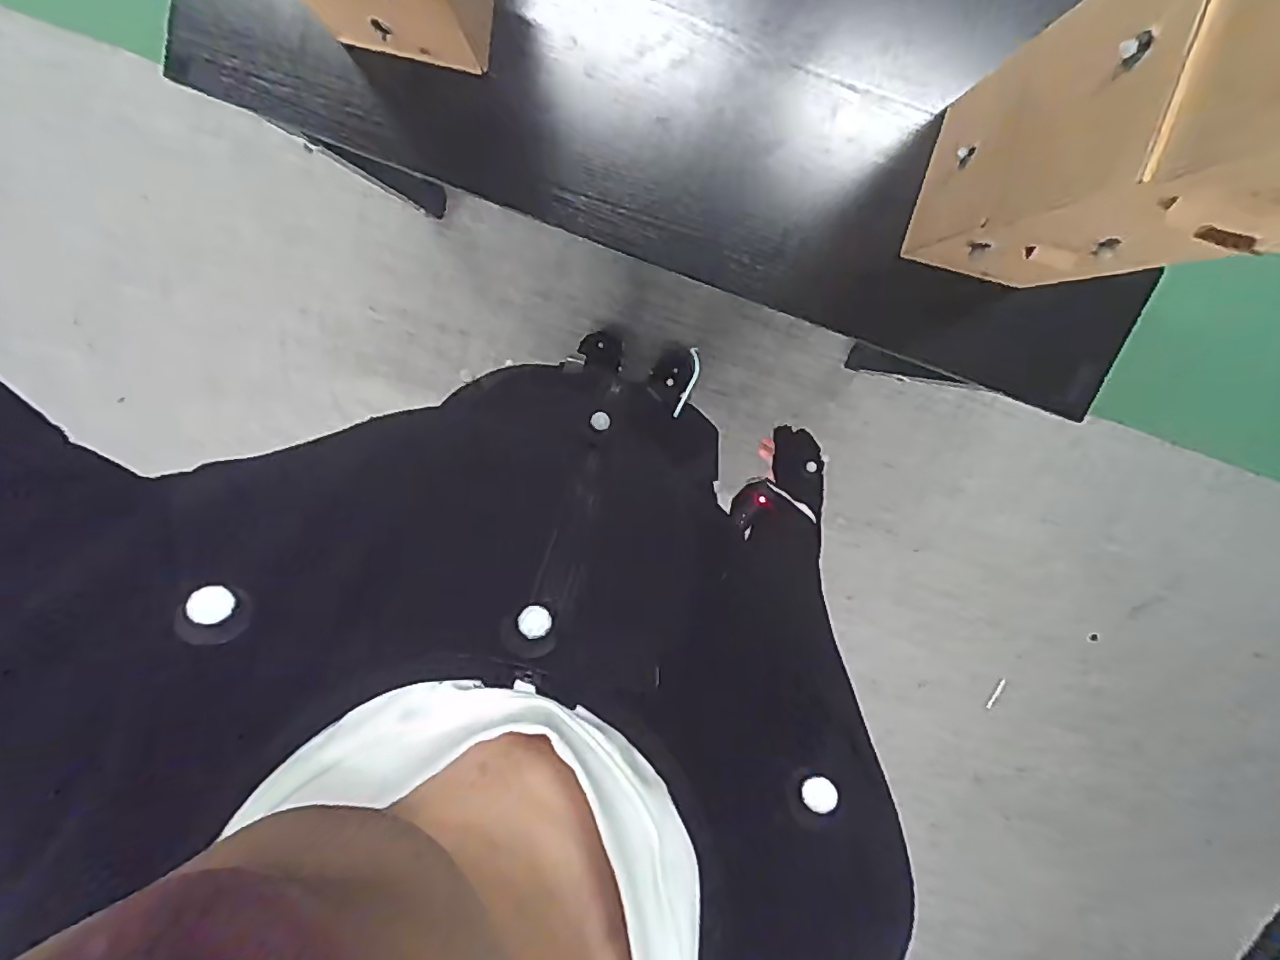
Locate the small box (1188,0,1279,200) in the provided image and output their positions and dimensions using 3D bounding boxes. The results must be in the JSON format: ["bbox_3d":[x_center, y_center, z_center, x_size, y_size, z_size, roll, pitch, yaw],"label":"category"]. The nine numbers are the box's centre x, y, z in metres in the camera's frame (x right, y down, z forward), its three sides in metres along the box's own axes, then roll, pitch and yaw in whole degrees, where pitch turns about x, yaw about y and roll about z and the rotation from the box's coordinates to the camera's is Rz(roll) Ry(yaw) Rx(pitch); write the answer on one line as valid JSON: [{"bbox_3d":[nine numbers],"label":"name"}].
[{"bbox_3d":[0.433,-0.234,0.253,0.168,0.176,0.179,11,103,-4],"label":"small box"}]

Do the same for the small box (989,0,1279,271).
[{"bbox_3d":[0.422,-0.281,0.427,0.168,0.176,0.179,11,104,-4],"label":"small box"}]

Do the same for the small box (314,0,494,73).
[{"bbox_3d":[-0.236,-0.539,0.514,0.168,0.176,0.179,10,105,-5],"label":"small box"}]
